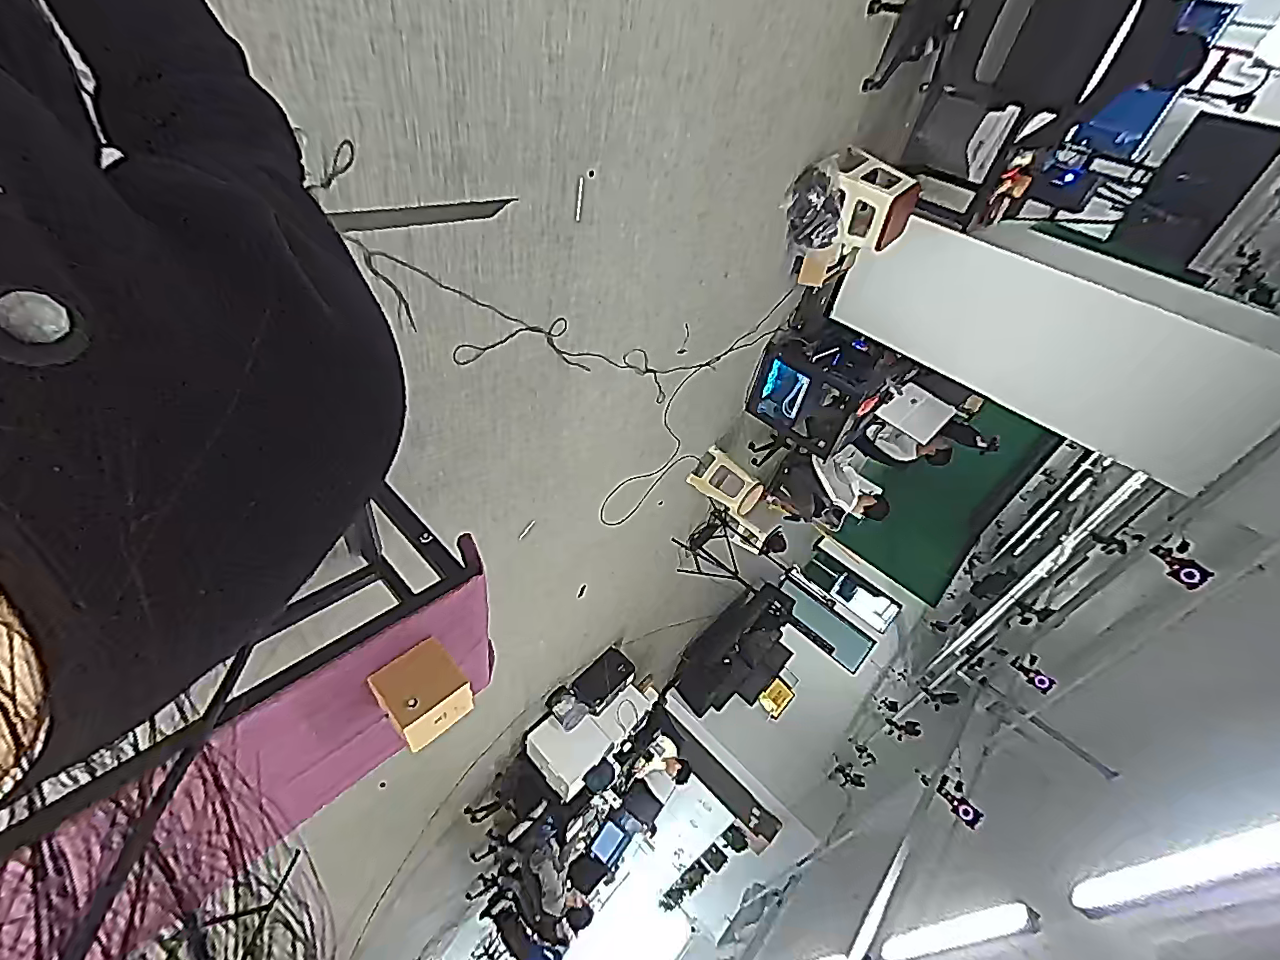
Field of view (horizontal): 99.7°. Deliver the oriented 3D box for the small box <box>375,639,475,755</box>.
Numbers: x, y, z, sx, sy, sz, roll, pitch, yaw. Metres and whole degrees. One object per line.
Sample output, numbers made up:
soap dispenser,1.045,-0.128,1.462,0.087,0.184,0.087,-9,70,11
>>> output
small box,-0.541,0.539,1.357,0.179,0.176,0.168,-33,150,-36
